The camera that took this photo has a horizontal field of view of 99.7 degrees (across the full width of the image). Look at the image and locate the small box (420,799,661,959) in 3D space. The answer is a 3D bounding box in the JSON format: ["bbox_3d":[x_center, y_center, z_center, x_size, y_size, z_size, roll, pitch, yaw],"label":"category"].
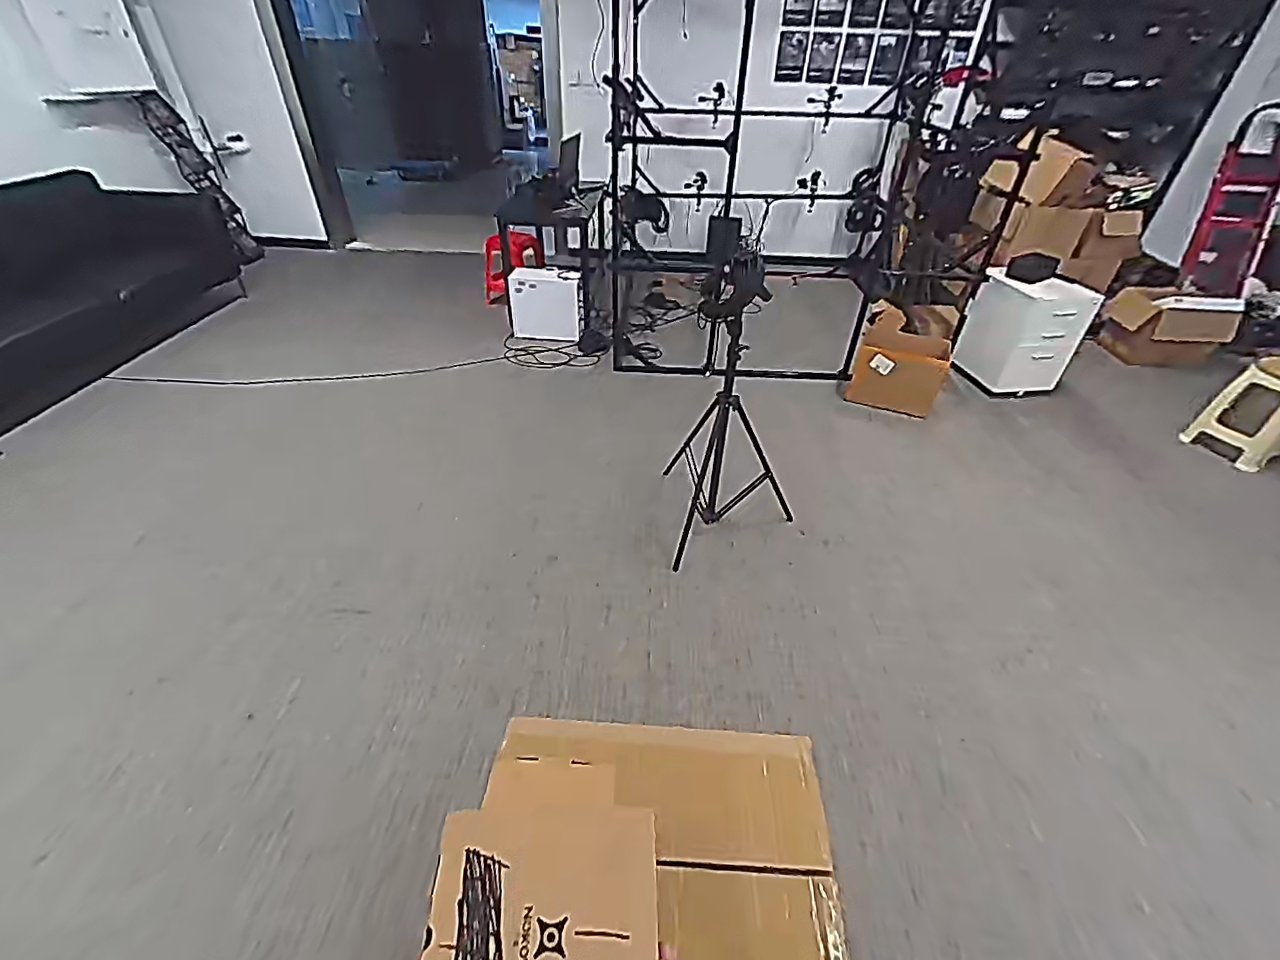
[{"bbox_3d":[-0.072,0.388,0.458,0.179,0.176,0.168,-1,45,-1],"label":"small box"}]

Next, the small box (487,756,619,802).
[{"bbox_3d":[-0.116,0.491,0.707,0.168,0.176,0.179,2,41,2],"label":"small box"}]
